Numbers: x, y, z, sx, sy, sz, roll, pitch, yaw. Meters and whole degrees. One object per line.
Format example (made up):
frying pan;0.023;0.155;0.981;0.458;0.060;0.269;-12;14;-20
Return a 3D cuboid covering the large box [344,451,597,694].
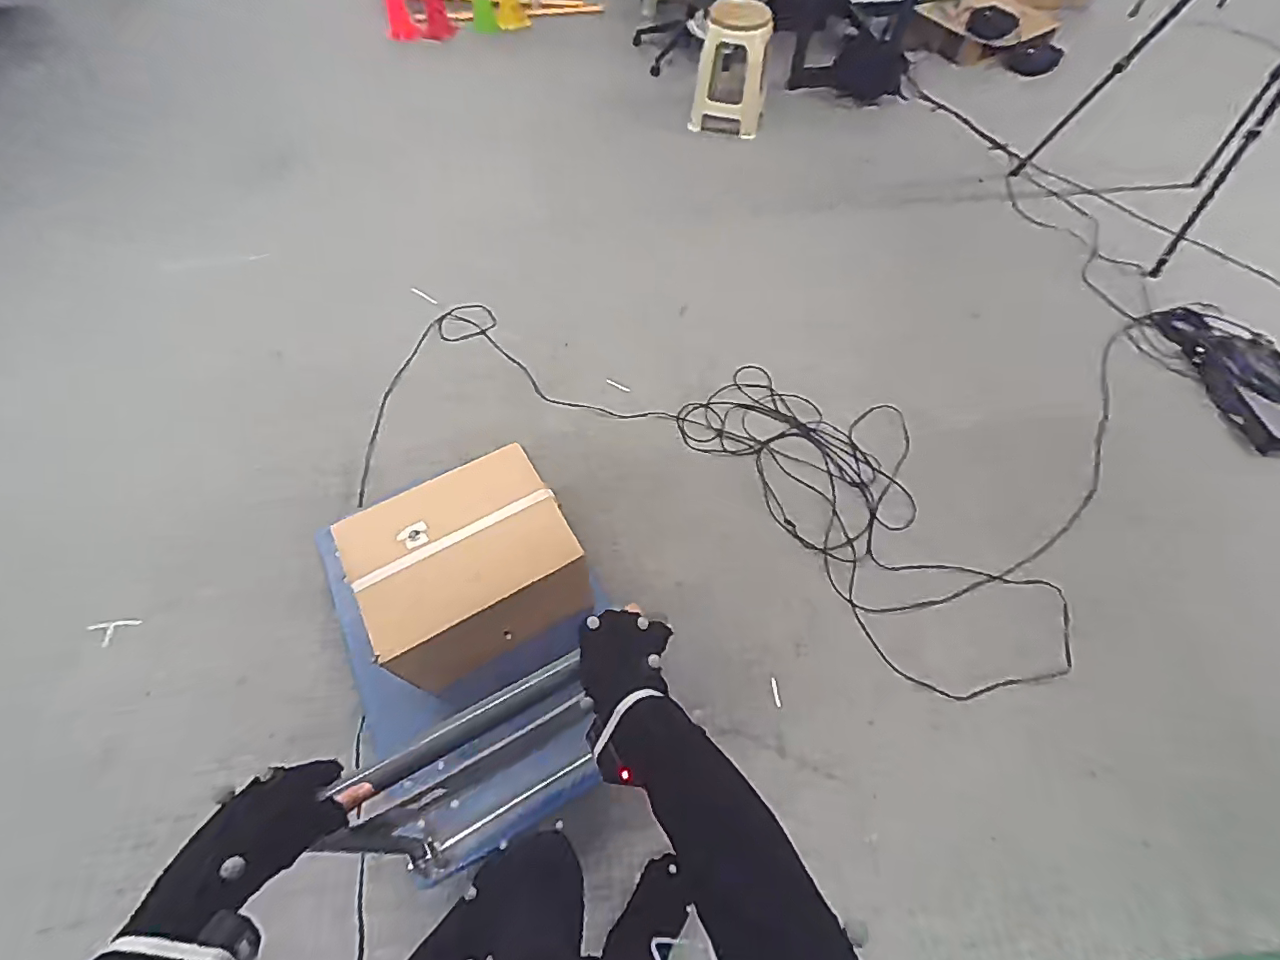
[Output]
large box;-0.346;0.208;1.194;0.408;0.320;0.320;-27;62;-15
